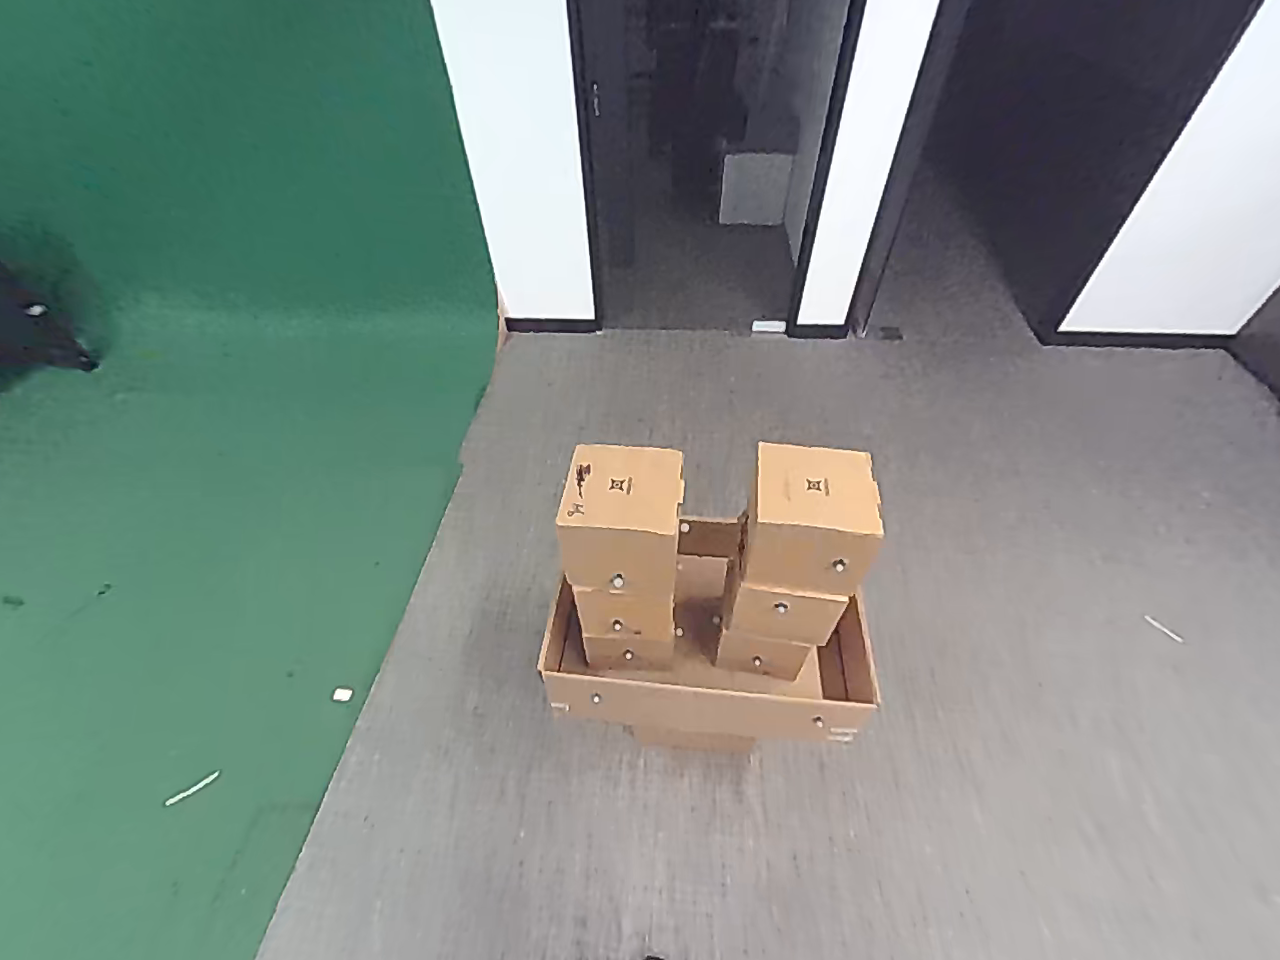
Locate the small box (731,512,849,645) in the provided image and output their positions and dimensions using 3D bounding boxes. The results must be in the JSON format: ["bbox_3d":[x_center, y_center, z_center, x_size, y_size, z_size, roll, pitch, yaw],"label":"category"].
[{"bbox_3d":[0.261,0.179,0.972,0.179,0.176,0.168,7,48,7],"label":"small box"}]

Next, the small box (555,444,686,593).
[{"bbox_3d":[-0.024,0.065,0.867,0.179,0.176,0.168,5,47,6],"label":"small box"}]

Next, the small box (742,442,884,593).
[{"bbox_3d":[0.263,0.062,0.858,0.179,0.176,0.168,6,47,8],"label":"small box"}]

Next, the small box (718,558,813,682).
[{"bbox_3d":[0.252,0.287,1.096,0.168,0.176,0.179,7,48,9],"label":"small box"}]
